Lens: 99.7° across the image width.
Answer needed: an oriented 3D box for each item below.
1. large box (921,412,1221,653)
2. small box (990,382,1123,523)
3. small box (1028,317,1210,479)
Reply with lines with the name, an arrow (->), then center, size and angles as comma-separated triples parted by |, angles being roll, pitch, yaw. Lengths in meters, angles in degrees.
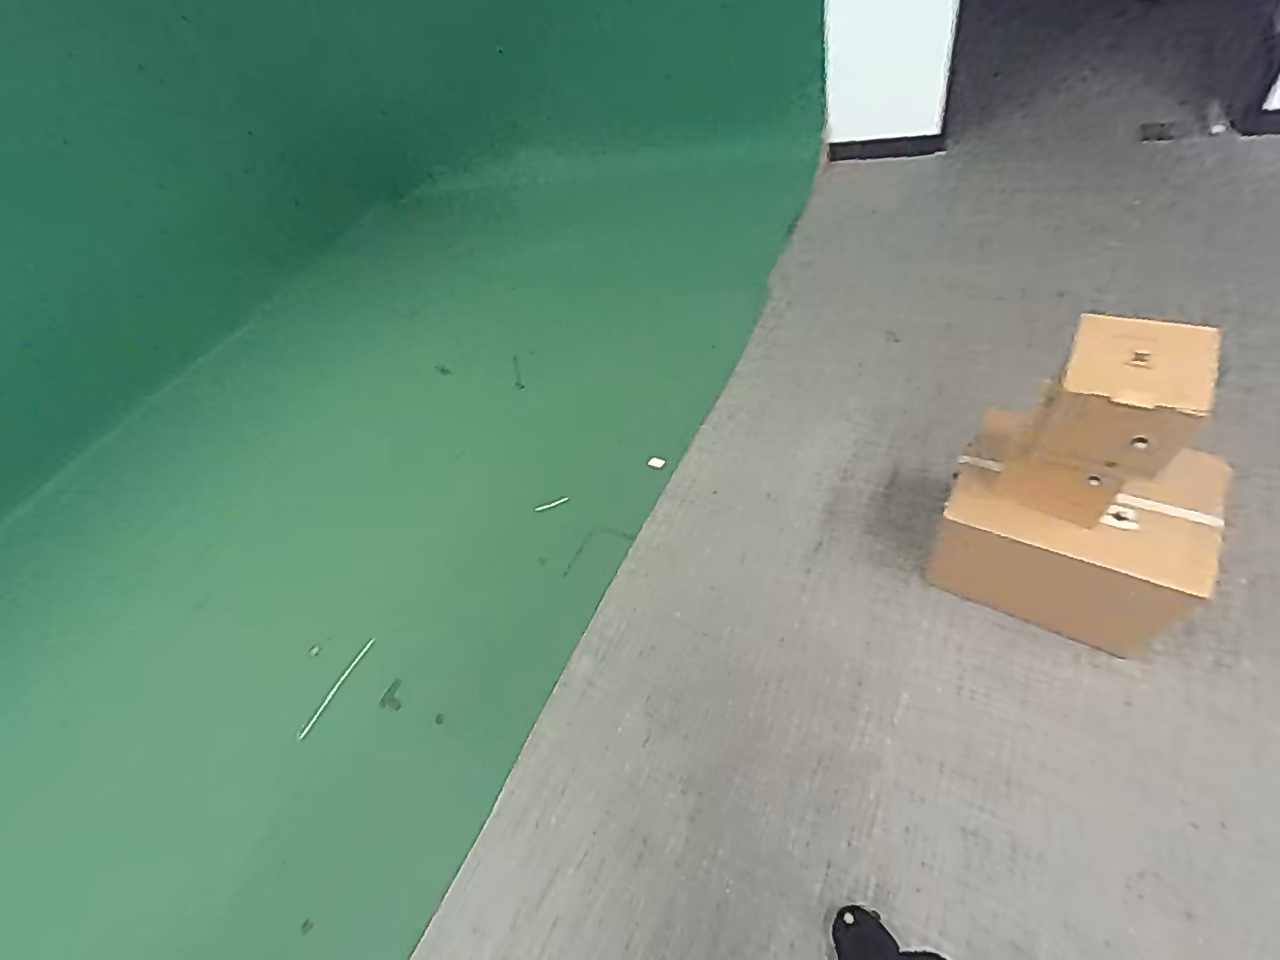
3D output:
large box -> 0.879, 0.106, 1.159 | 0.408, 0.320, 0.320 | 21, 65, 29
small box -> 0.779, -0.047, 0.994 | 0.179, 0.176, 0.168 | 27, 67, 33
small box -> 0.745, -0.128, 0.857 | 0.168, 0.176, 0.179 | 19, 61, 28
